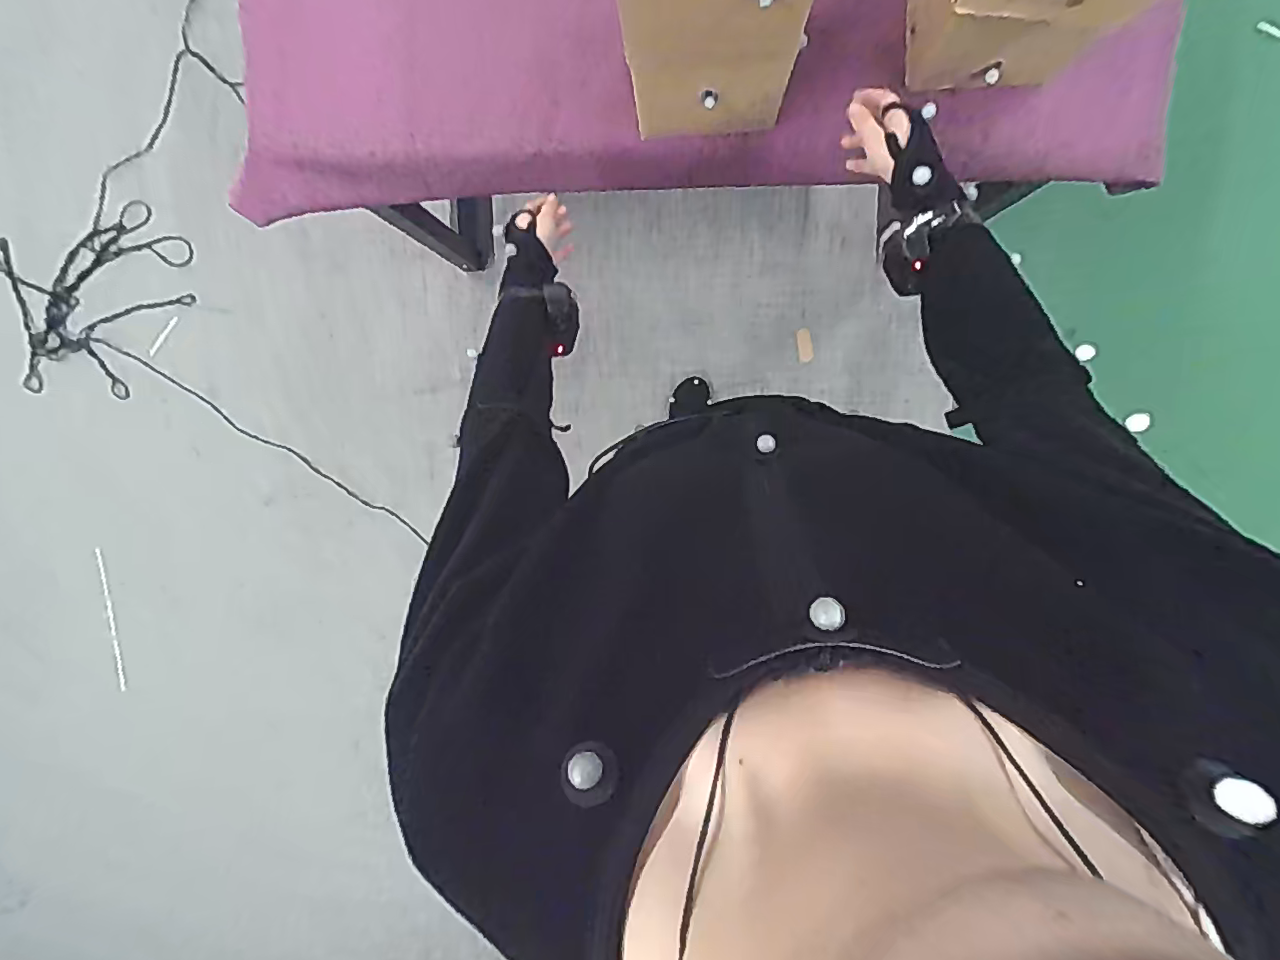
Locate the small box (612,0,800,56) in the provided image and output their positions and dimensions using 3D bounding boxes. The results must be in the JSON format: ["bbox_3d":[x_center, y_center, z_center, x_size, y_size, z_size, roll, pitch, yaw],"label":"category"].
[{"bbox_3d":[0.060,-0.505,0.459,0.179,0.176,0.168,0,95,6],"label":"small box"}]

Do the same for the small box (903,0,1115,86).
[{"bbox_3d":[0.413,-0.569,0.589,0.179,0.176,0.168,0,95,6],"label":"small box"}]

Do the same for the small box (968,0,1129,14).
[{"bbox_3d":[0.385,-0.532,0.430,0.168,0.176,0.179,7,98,5],"label":"small box"}]
